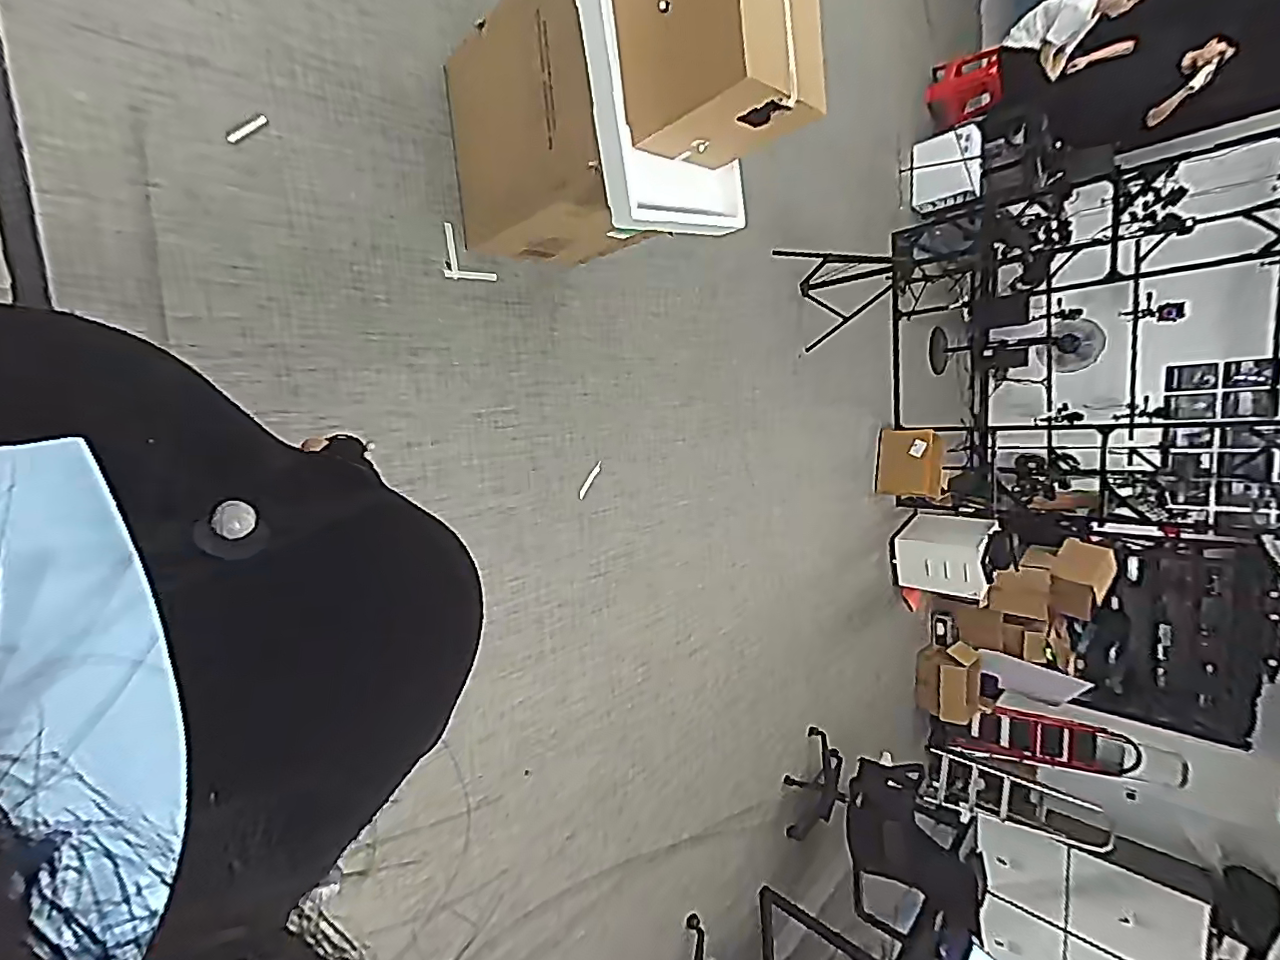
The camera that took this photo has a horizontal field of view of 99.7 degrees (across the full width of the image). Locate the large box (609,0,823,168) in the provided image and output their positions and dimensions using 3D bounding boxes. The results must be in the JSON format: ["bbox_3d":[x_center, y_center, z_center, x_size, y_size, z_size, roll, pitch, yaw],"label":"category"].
[{"bbox_3d":[0.160,-0.950,1.148,0.320,0.320,0.408,-18,104,-44],"label":"large box"}]
